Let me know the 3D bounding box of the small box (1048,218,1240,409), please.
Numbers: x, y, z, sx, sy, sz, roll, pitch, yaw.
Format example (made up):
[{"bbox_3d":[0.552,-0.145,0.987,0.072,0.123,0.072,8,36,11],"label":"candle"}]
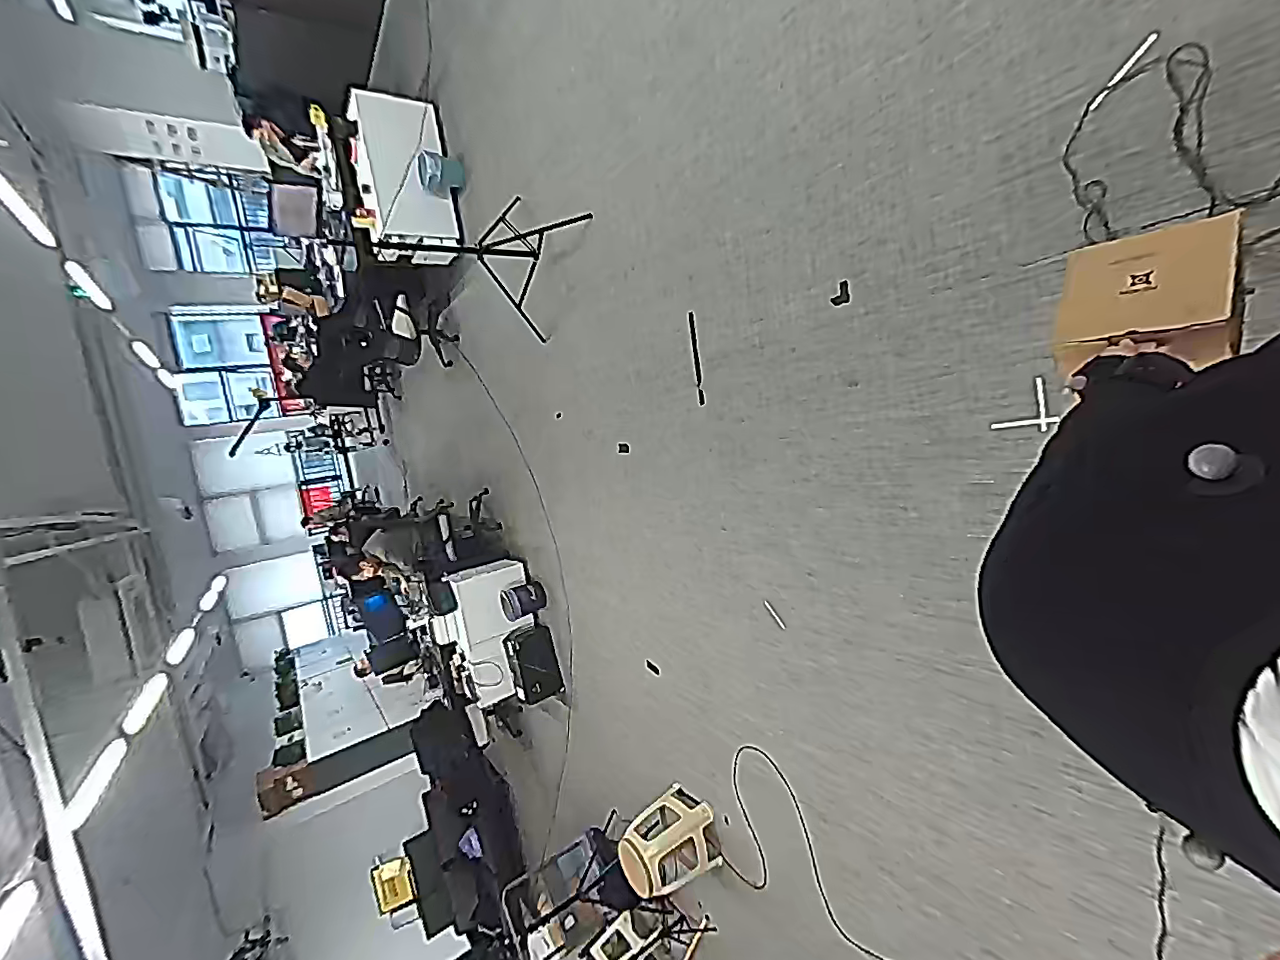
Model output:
[{"bbox_3d":[0.693,-0.209,0.741,0.168,0.176,0.179,3,60,50],"label":"small box"}]
